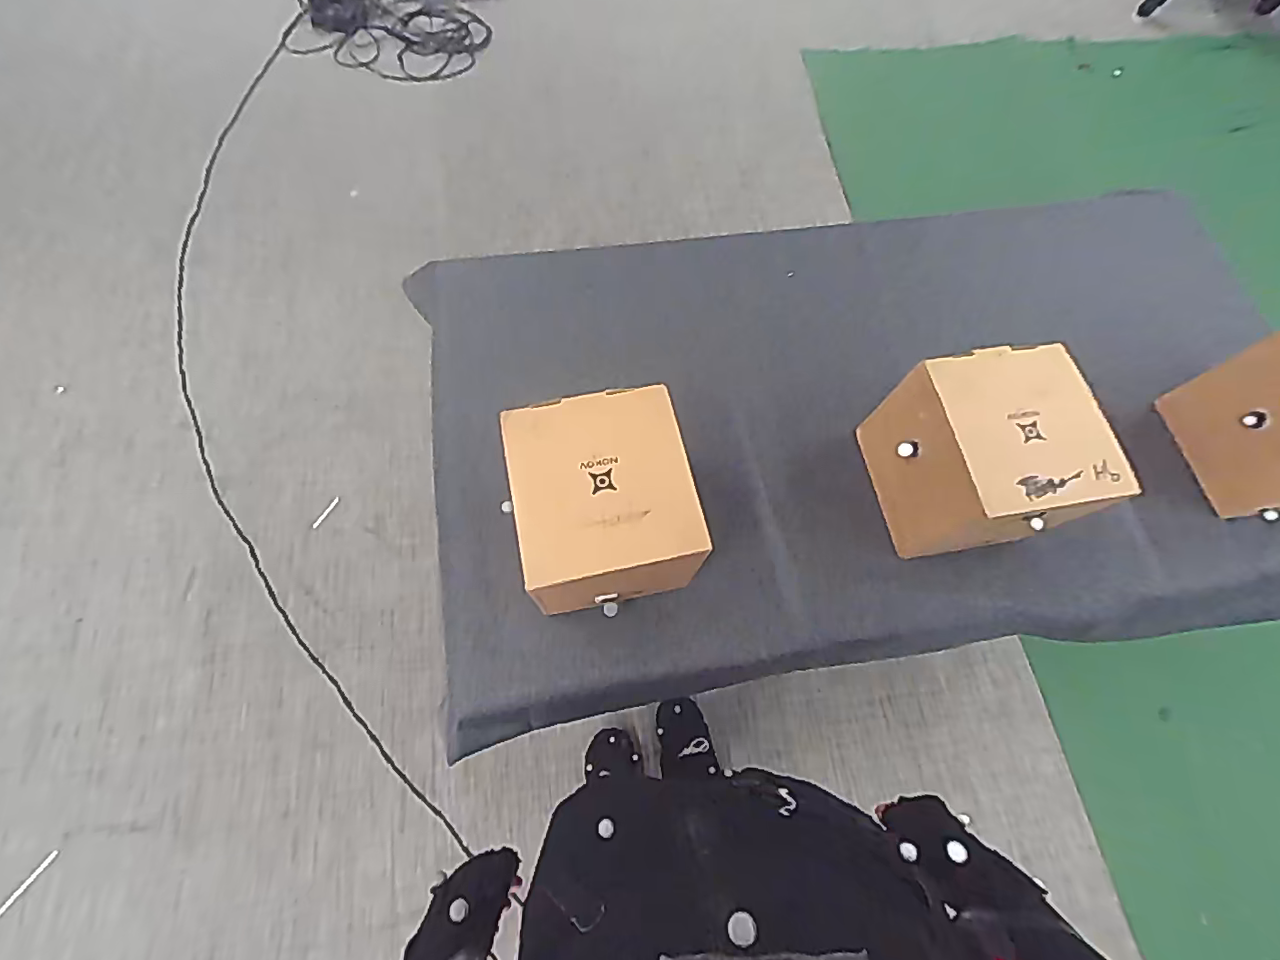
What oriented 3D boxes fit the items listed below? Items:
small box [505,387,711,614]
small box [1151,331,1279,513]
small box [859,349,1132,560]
[{"bbox_3d":[-0.038,0.030,0.573,0.168,0.176,0.179,-12,69,-7],"label":"small box"},{"bbox_3d":[0.802,-0.067,0.656,0.168,0.176,0.179,-7,68,-5],"label":"small box"},{"bbox_3d":[0.379,-0.023,0.619,0.168,0.176,0.179,-8,68,-6],"label":"small box"}]
